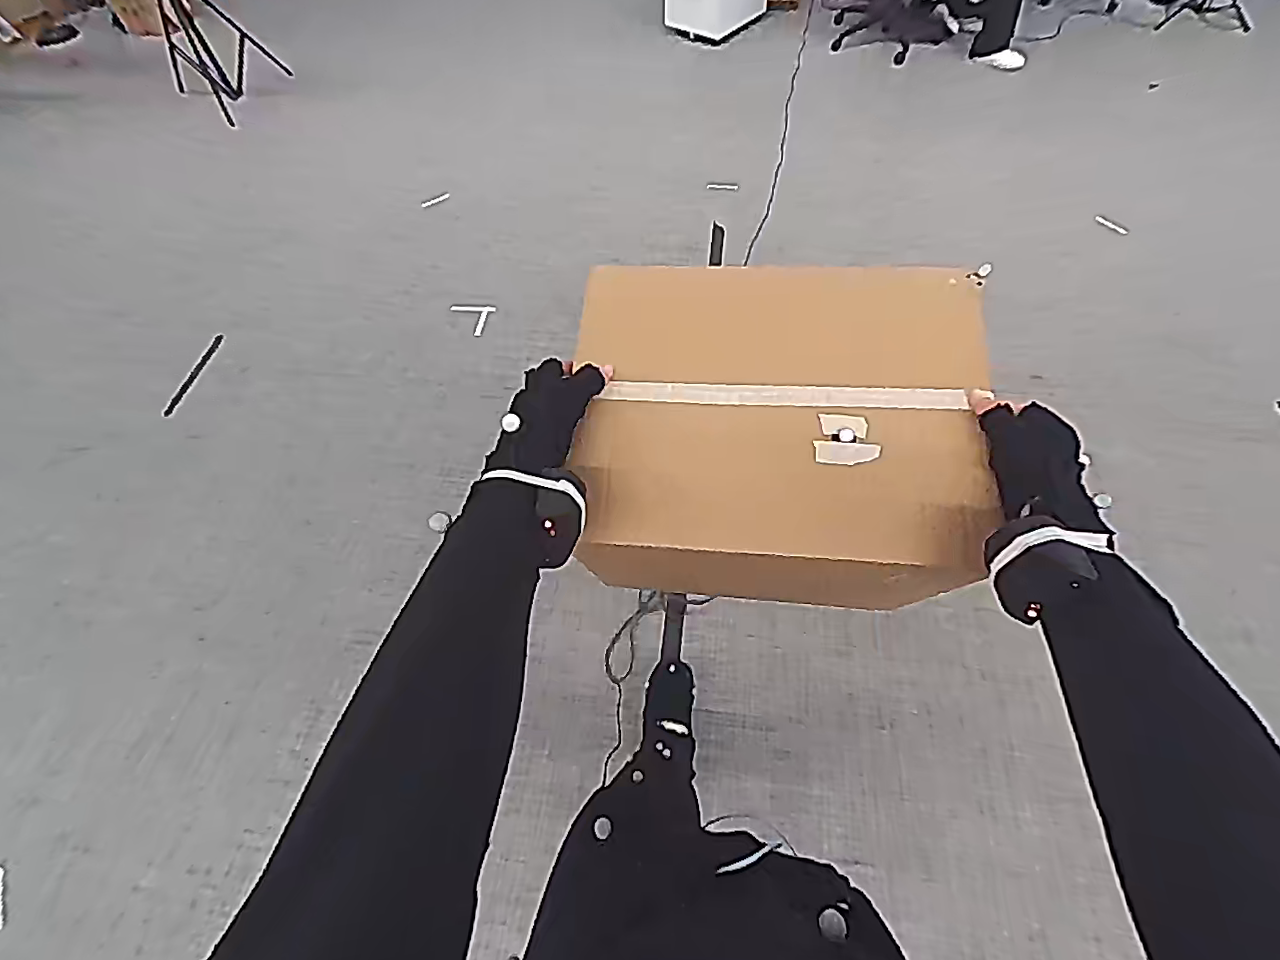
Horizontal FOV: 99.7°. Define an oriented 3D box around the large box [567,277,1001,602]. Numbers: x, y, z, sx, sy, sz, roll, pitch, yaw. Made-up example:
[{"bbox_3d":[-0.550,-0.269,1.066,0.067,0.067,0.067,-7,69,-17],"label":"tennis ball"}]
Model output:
[{"bbox_3d":[0.150,-0.030,0.687,0.408,0.320,0.320,3,72,7],"label":"large box"}]
